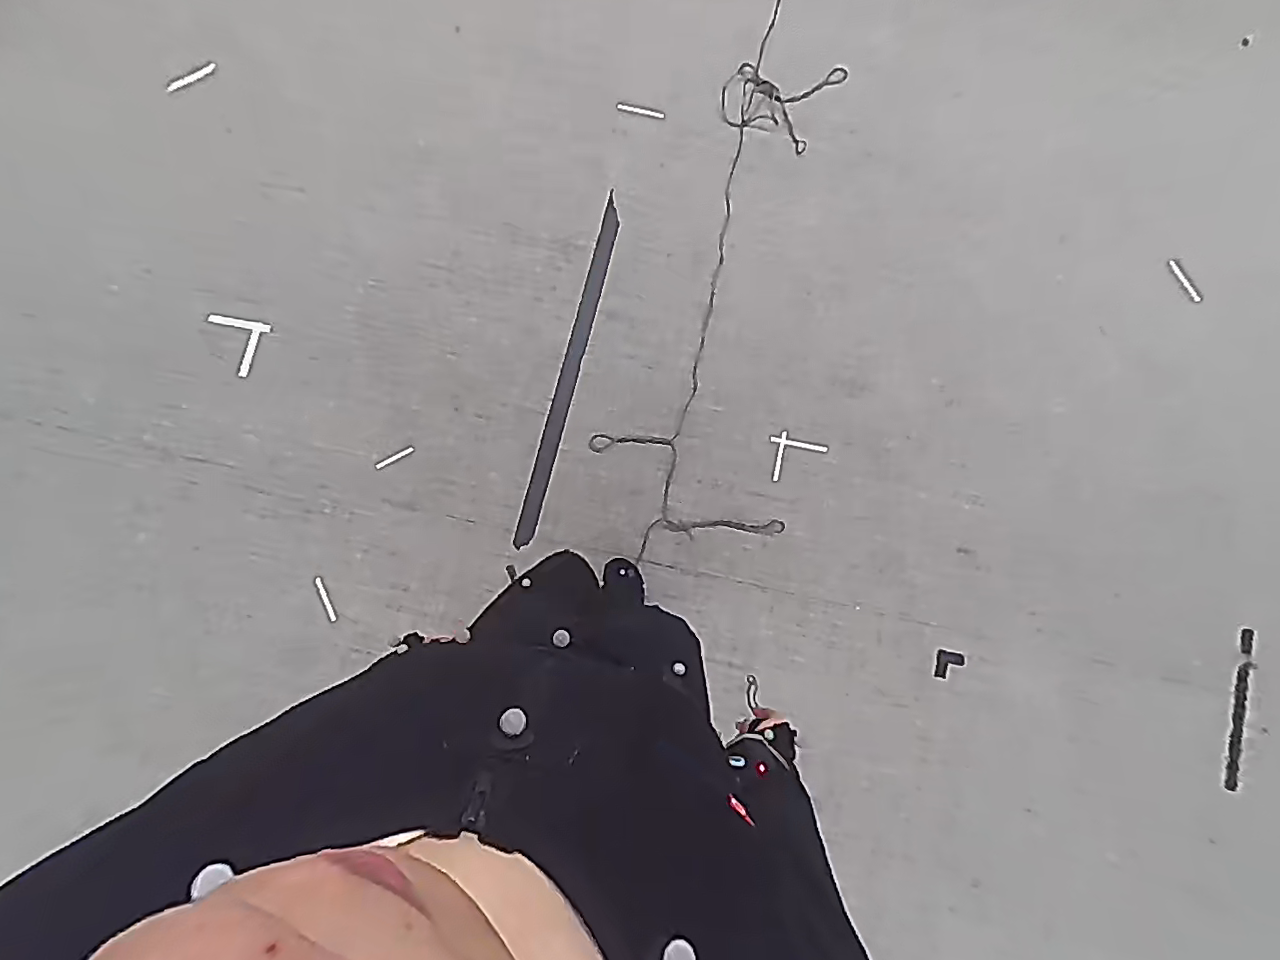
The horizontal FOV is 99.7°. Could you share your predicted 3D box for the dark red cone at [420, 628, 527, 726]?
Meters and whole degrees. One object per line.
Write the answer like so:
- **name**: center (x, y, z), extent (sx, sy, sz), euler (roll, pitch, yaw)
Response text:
- **dark red cone**: center (-0.383, 0.449, 1.150), extent (0.201, 0.394, 0.202), euler (13, 82, 0)
